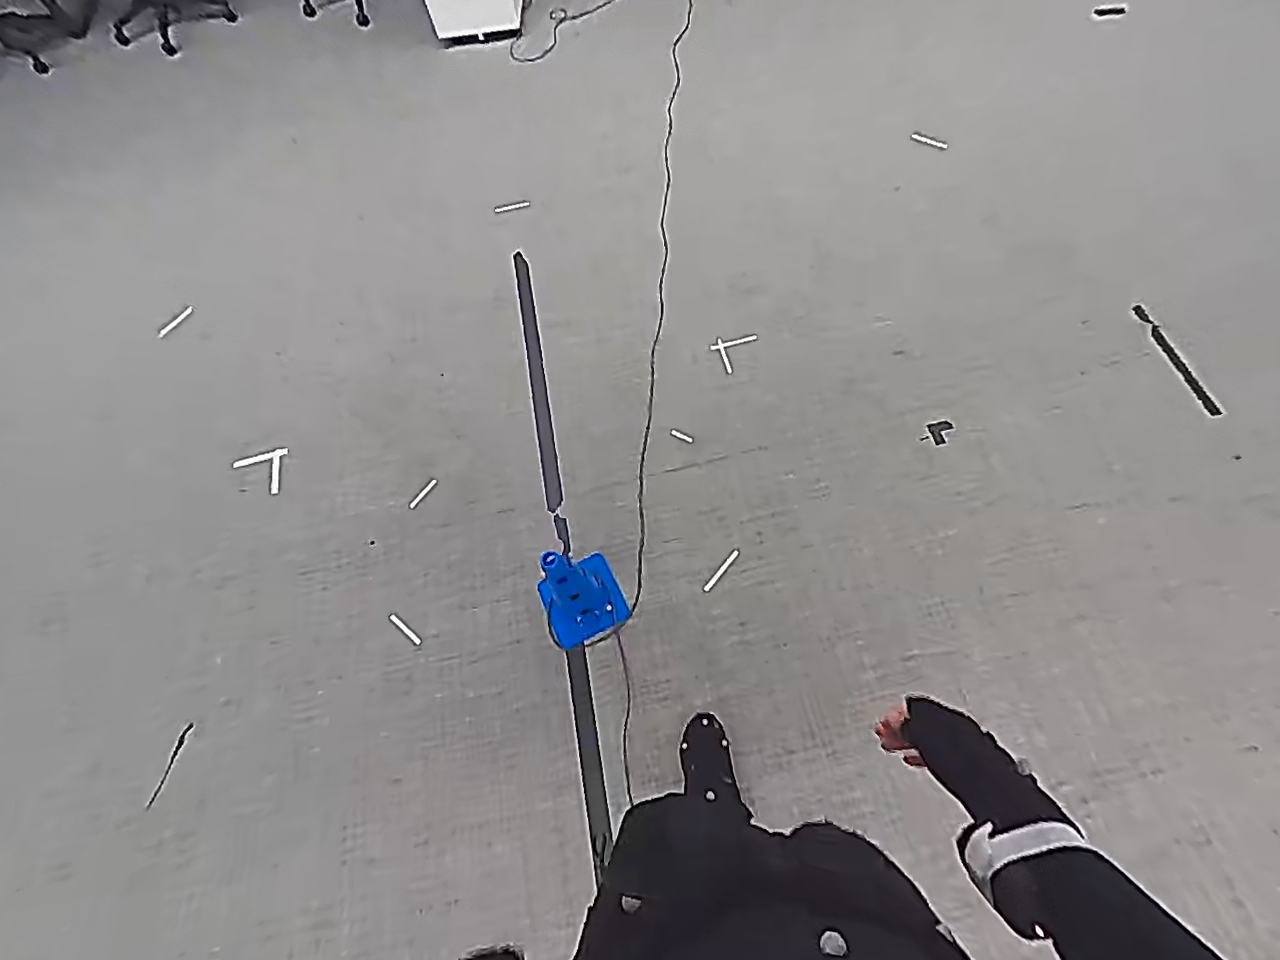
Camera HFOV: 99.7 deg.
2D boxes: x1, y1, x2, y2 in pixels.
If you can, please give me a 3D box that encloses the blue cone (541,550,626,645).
[{"bbox_3d":[-0.165,0.233,1.260,0.193,0.380,0.192,-27,65,-8],"label":"blue cone"}]
